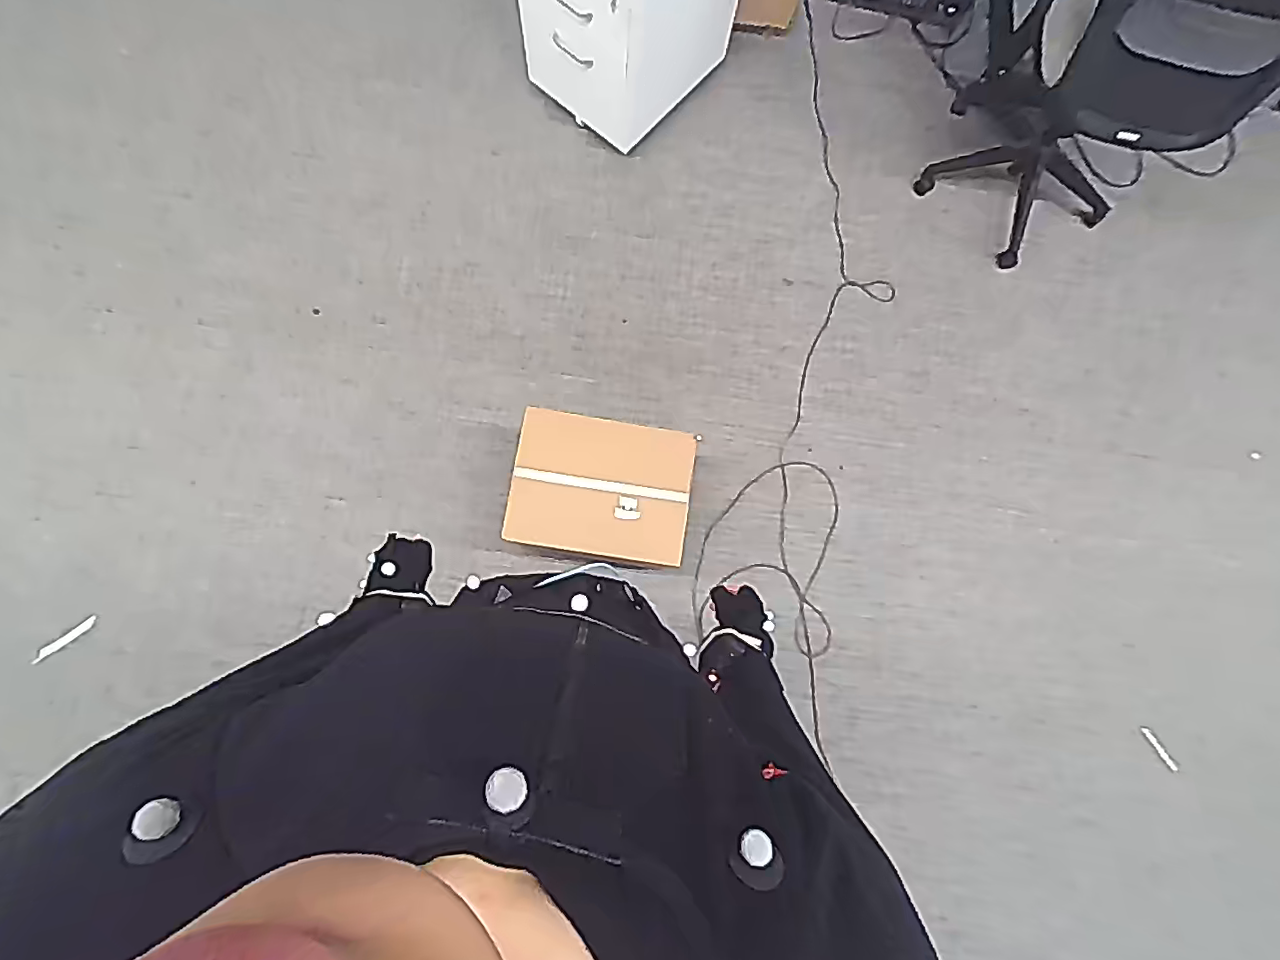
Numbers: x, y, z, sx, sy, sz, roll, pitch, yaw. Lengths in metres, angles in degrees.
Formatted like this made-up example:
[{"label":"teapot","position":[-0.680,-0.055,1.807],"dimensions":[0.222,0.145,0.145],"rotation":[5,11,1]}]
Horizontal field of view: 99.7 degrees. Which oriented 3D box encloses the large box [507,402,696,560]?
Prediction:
[{"label":"large box","position":[-0.096,0.020,1.383],"dimensions":[0.408,0.320,0.320],"rotation":[10,80,-4]}]
